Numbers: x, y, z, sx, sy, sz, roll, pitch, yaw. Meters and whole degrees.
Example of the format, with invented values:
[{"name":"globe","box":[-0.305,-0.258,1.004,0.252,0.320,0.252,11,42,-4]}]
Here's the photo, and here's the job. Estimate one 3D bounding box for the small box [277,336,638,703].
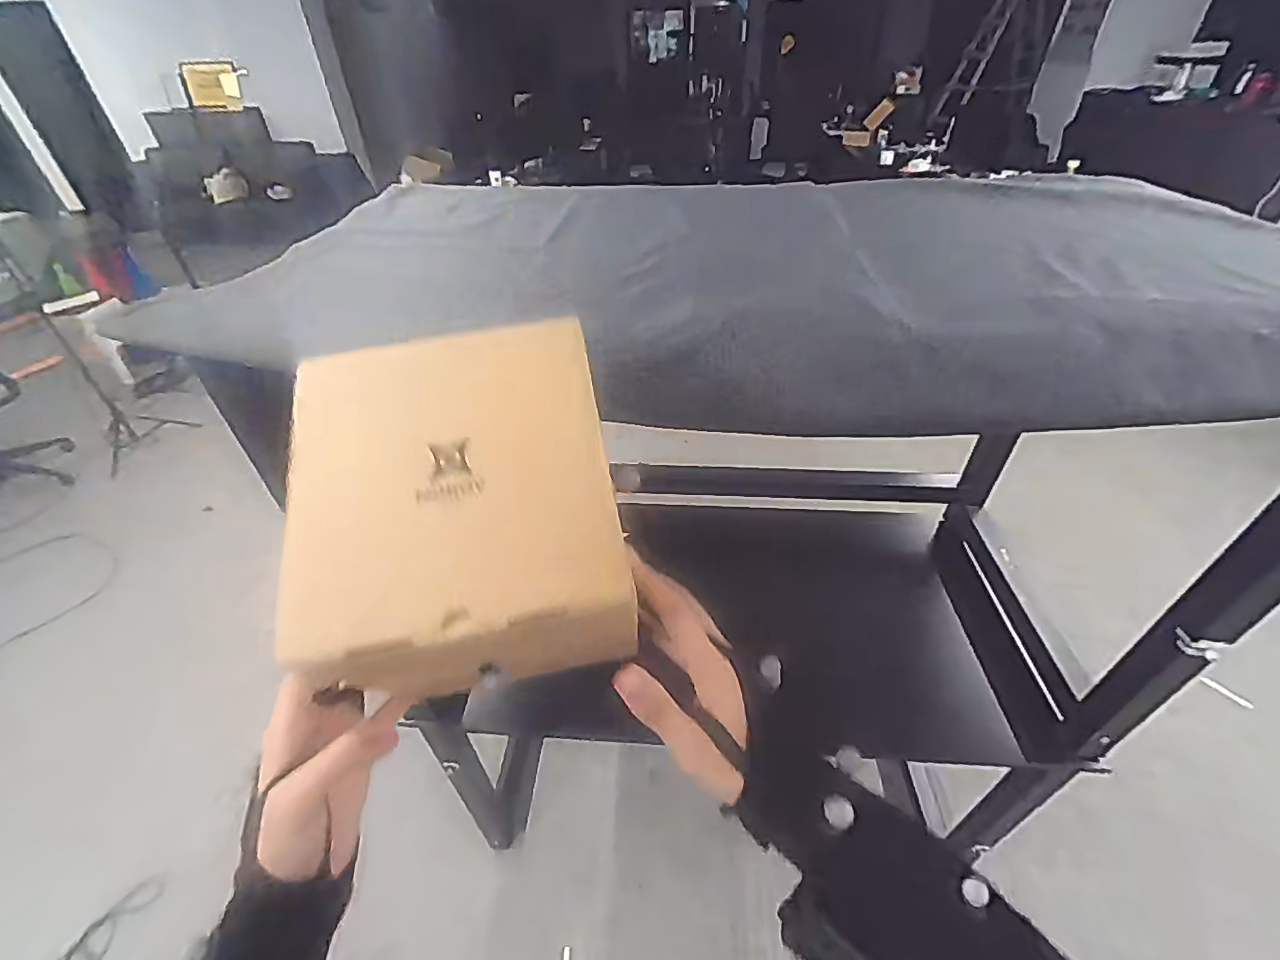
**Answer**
[{"name":"small box","box":[-0.098,0.036,0.356,0.168,0.176,0.179,-10,65,-5]}]
